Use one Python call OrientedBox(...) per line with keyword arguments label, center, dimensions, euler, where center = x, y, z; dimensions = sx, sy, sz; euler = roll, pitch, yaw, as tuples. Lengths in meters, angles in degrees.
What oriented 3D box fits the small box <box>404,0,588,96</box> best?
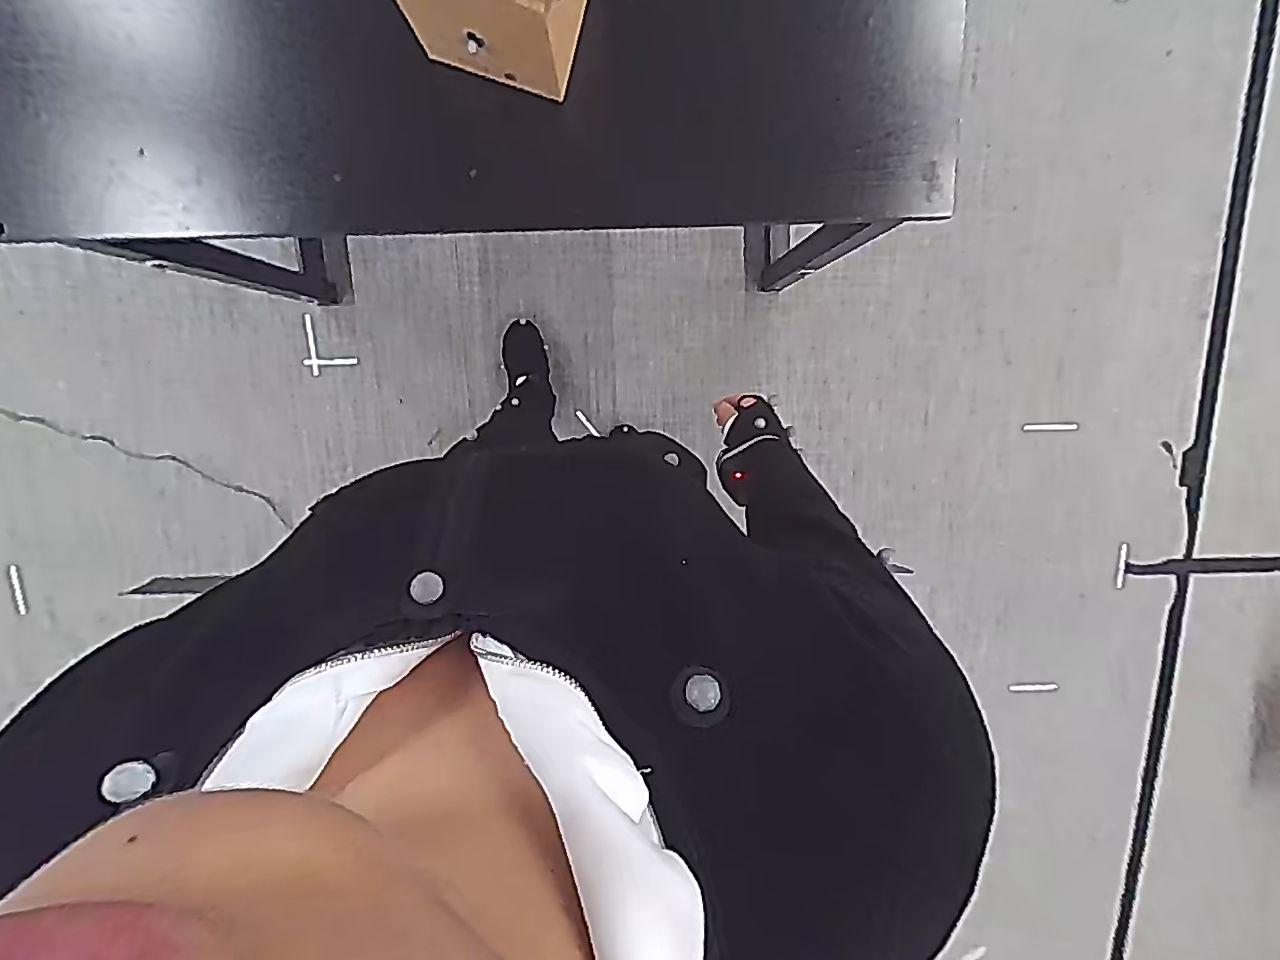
OrientedBox(label="small box", center=(-0.145, -0.551, 0.565), dimensions=(0.168, 0.176, 0.179), euler=(16, 99, -6))
